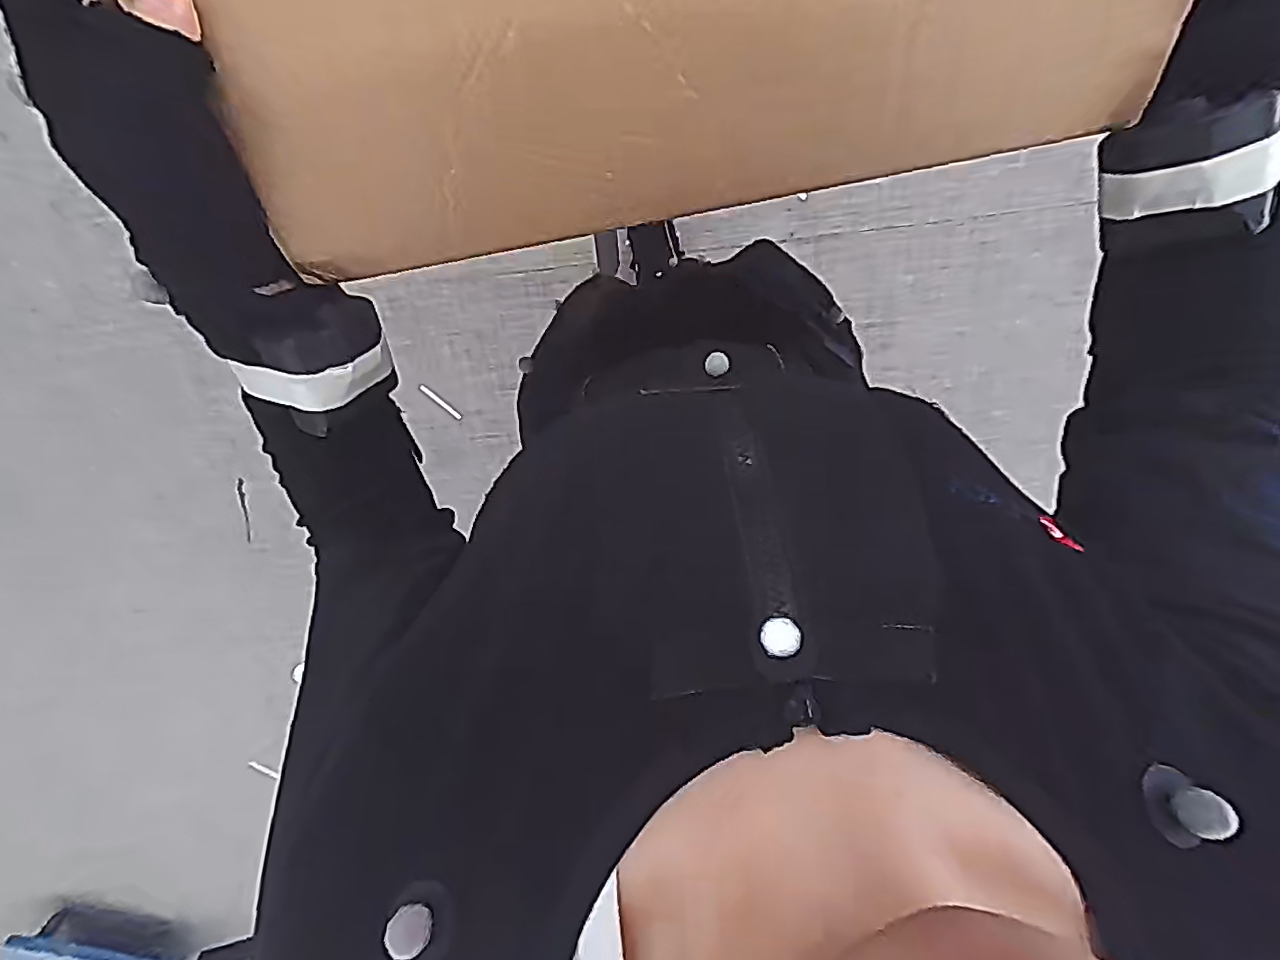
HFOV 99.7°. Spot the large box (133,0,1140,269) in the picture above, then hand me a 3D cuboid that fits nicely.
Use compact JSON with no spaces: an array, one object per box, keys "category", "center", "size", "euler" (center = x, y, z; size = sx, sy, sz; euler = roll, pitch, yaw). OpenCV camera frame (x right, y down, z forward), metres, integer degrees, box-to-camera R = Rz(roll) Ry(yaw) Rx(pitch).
[{"category":"large box","center":[-0.011,-0.353,0.258],"size":[0.408,0.320,0.320],"euler":[-10,137,3]}]
